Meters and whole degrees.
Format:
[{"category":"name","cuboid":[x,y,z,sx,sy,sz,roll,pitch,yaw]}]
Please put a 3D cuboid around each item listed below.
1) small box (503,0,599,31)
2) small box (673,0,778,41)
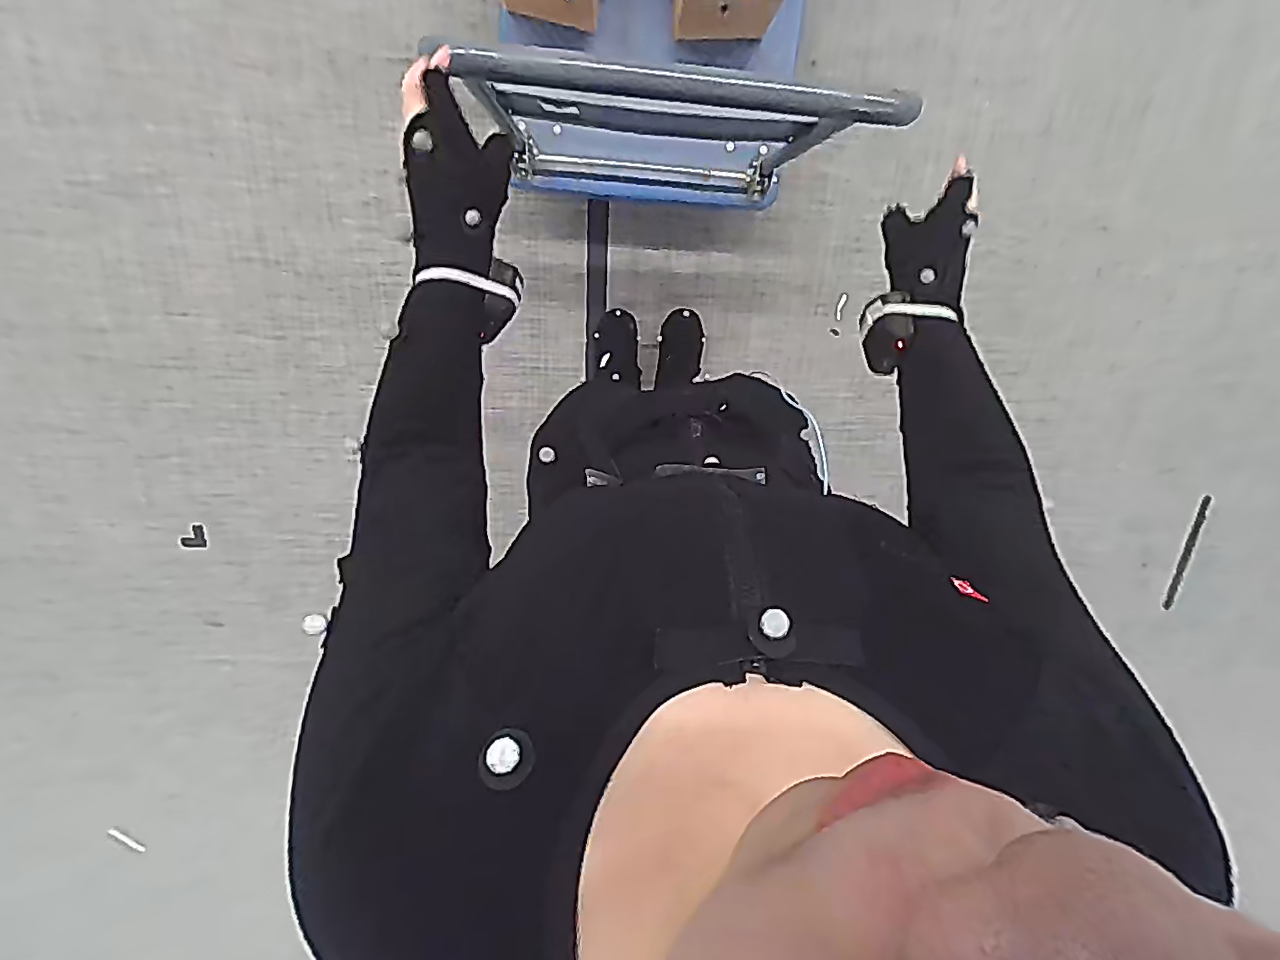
[{"category":"small box","cuboid":[-0.153,-0.915,0.925,0.179,0.176,0.168,9,108,-7]},{"category":"small box","cuboid":[0.149,-0.899,0.944,0.179,0.176,0.168,-2,109,-2]}]
